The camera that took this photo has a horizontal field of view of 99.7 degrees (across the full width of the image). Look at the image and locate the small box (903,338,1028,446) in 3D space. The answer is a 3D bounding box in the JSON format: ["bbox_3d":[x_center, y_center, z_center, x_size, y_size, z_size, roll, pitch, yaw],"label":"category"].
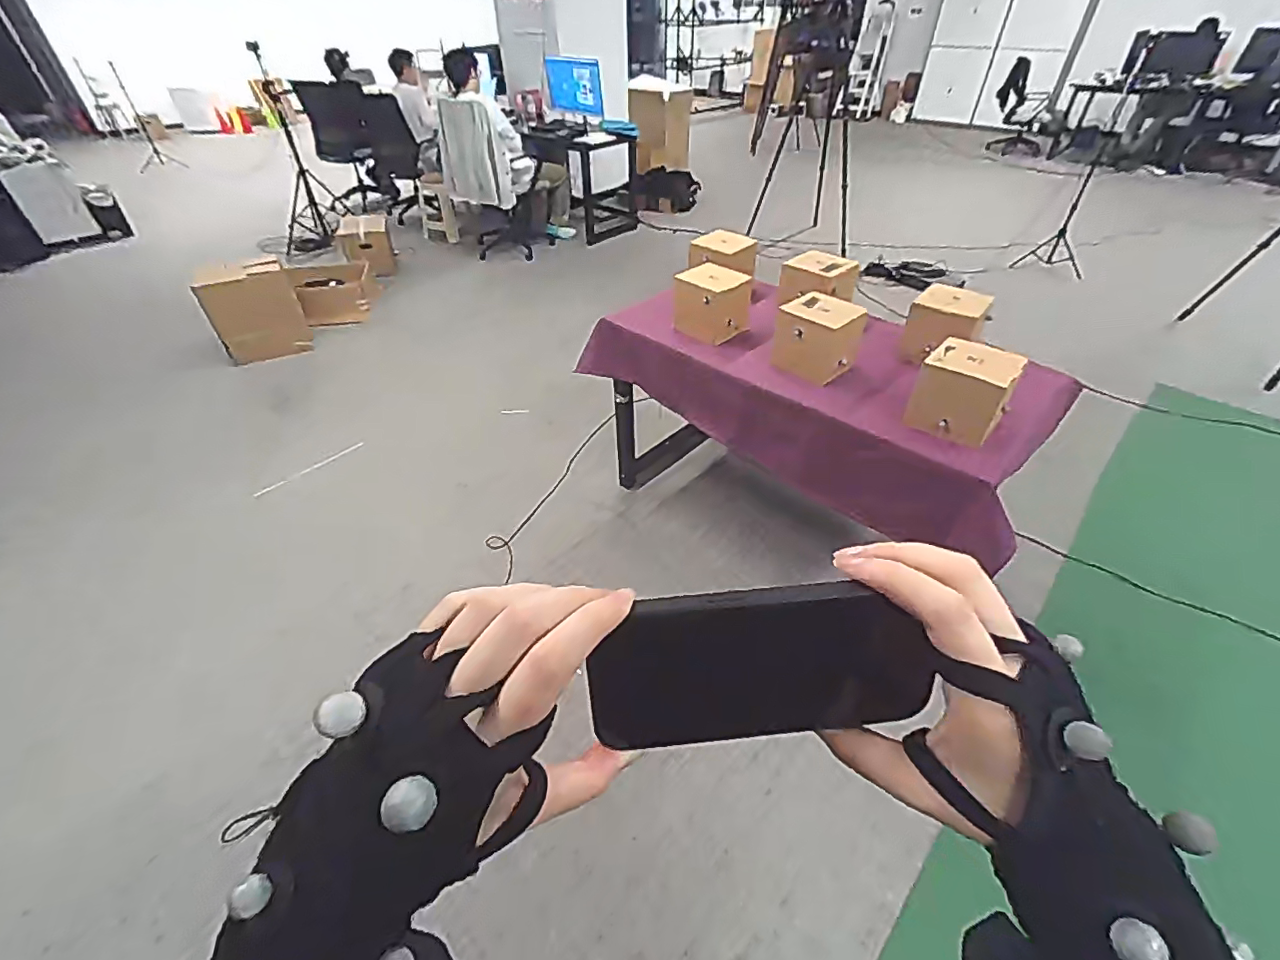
[{"bbox_3d":[0.750,-0.202,1.258,0.179,0.176,0.168,31,50,31],"label":"small box"}]

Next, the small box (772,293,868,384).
[{"bbox_3d":[0.483,-0.385,1.476,0.168,0.176,0.179,-32,51,-30],"label":"small box"}]

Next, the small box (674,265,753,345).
[{"bbox_3d":[0.219,-0.535,1.656,0.168,0.176,0.179,-34,51,-32],"label":"small box"}]

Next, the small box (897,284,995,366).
[{"bbox_3d":[0.846,-0.422,1.506,0.168,0.176,0.179,29,50,31],"label":"small box"}]
